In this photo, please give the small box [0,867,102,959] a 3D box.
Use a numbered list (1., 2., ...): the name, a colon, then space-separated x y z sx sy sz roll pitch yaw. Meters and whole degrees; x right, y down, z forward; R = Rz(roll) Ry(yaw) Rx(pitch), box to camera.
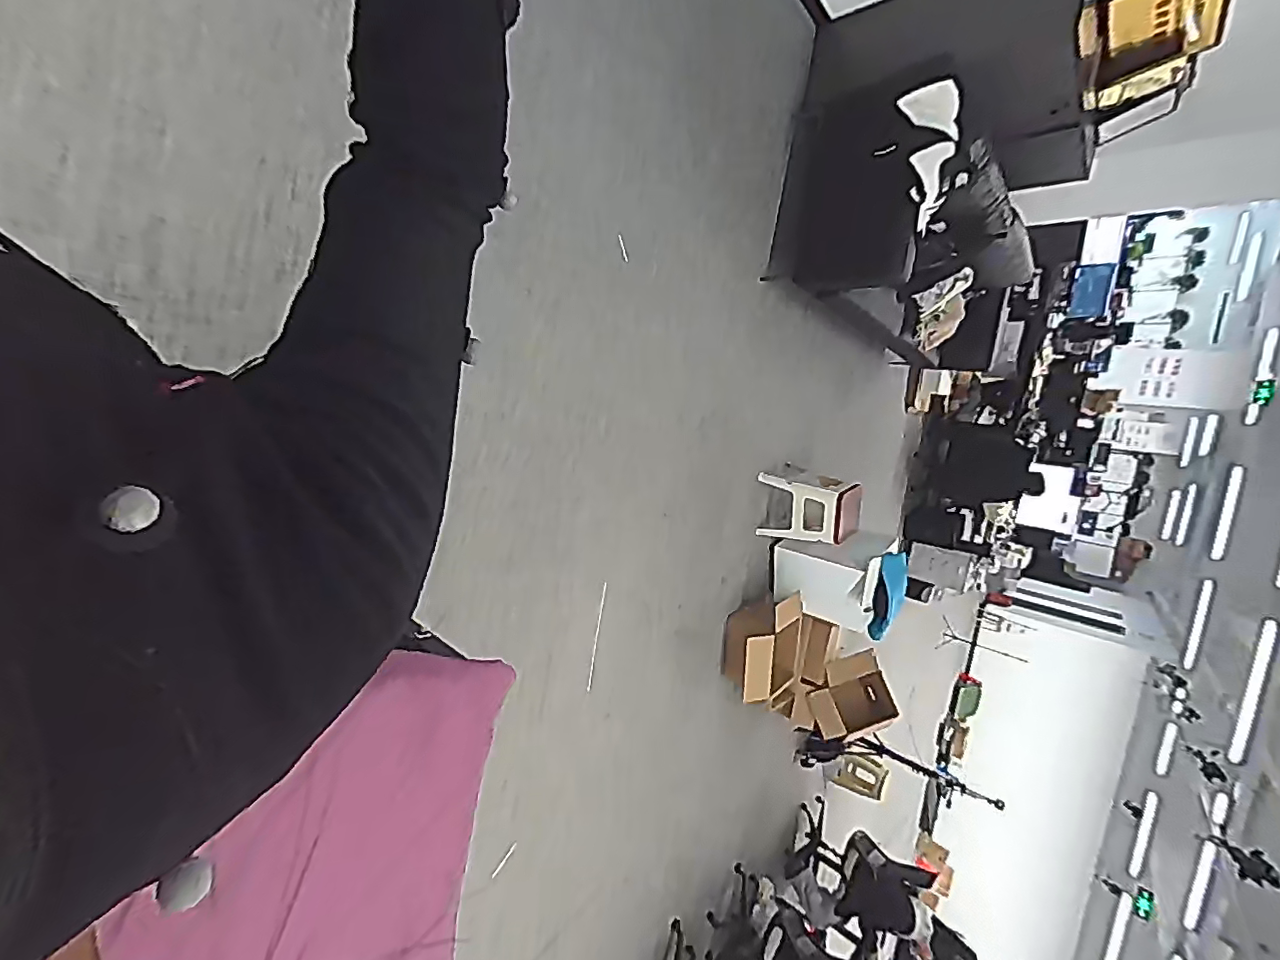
1. small box: -0.638 0.524 0.507 0.168 0.176 0.179 13 90 -50
